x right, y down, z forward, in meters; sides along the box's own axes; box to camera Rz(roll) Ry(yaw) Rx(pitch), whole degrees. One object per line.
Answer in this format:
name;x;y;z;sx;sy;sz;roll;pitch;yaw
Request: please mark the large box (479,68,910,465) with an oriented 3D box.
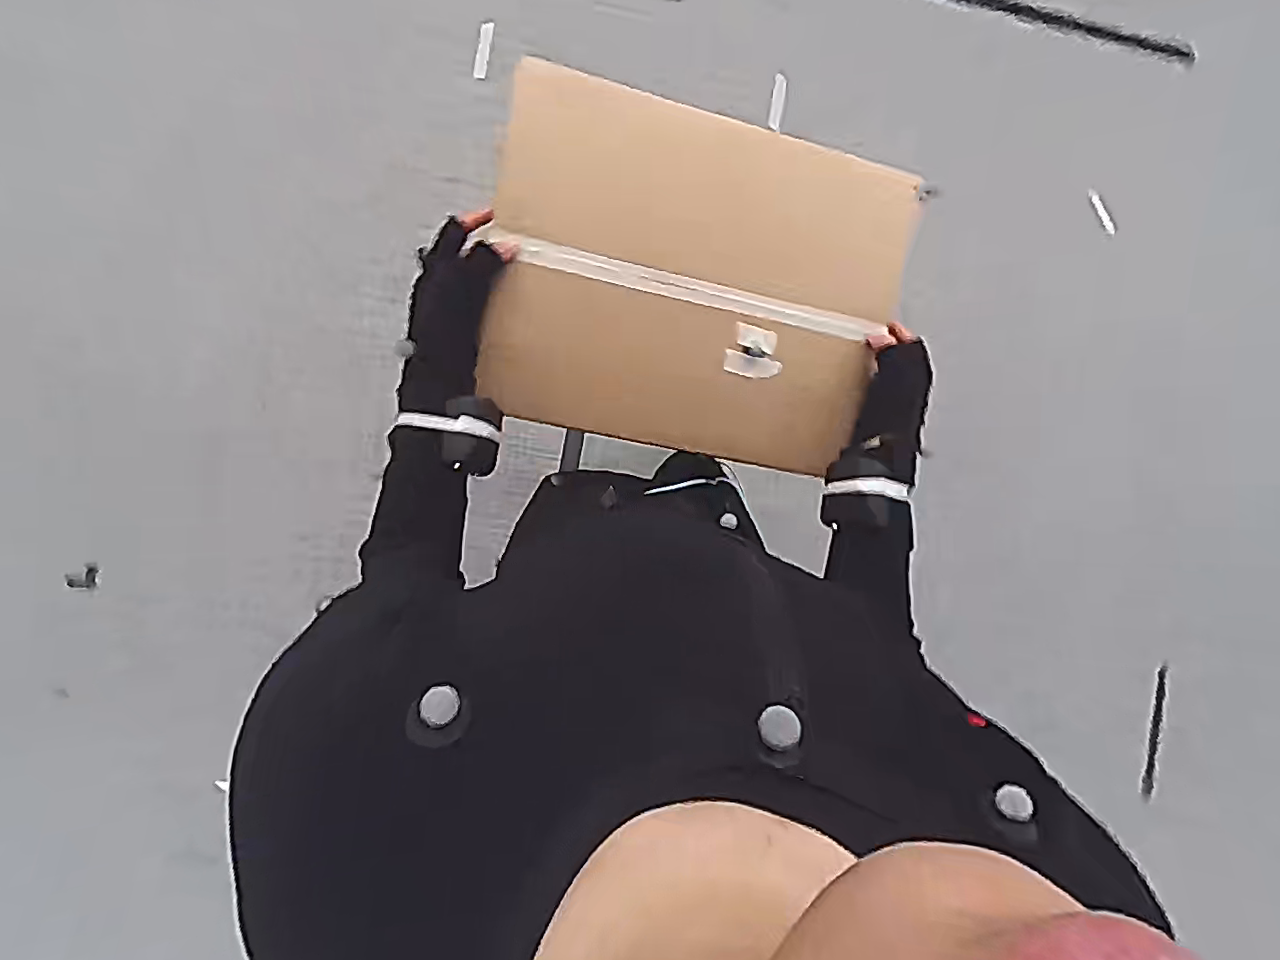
large box;0.037;-0.226;0.693;0.408;0.320;0.320;11;101;-10
